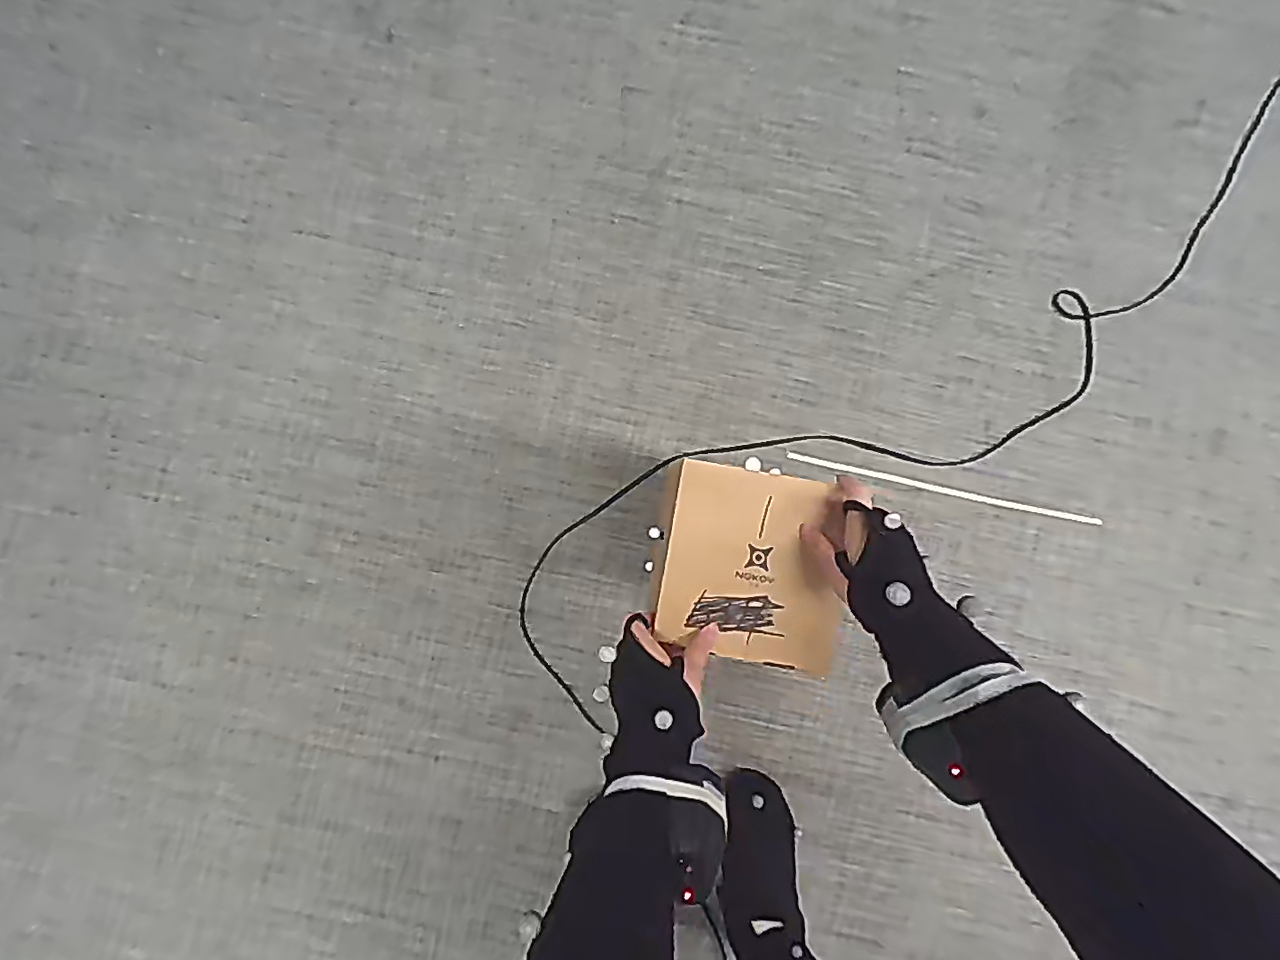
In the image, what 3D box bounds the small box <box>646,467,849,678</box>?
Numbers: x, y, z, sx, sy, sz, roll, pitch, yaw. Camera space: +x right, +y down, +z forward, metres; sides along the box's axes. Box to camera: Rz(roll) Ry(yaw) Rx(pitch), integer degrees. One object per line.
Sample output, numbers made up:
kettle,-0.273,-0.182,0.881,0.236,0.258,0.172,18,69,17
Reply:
small box,0.101,0.086,0.579,0.168,0.176,0.179,9,89,0
